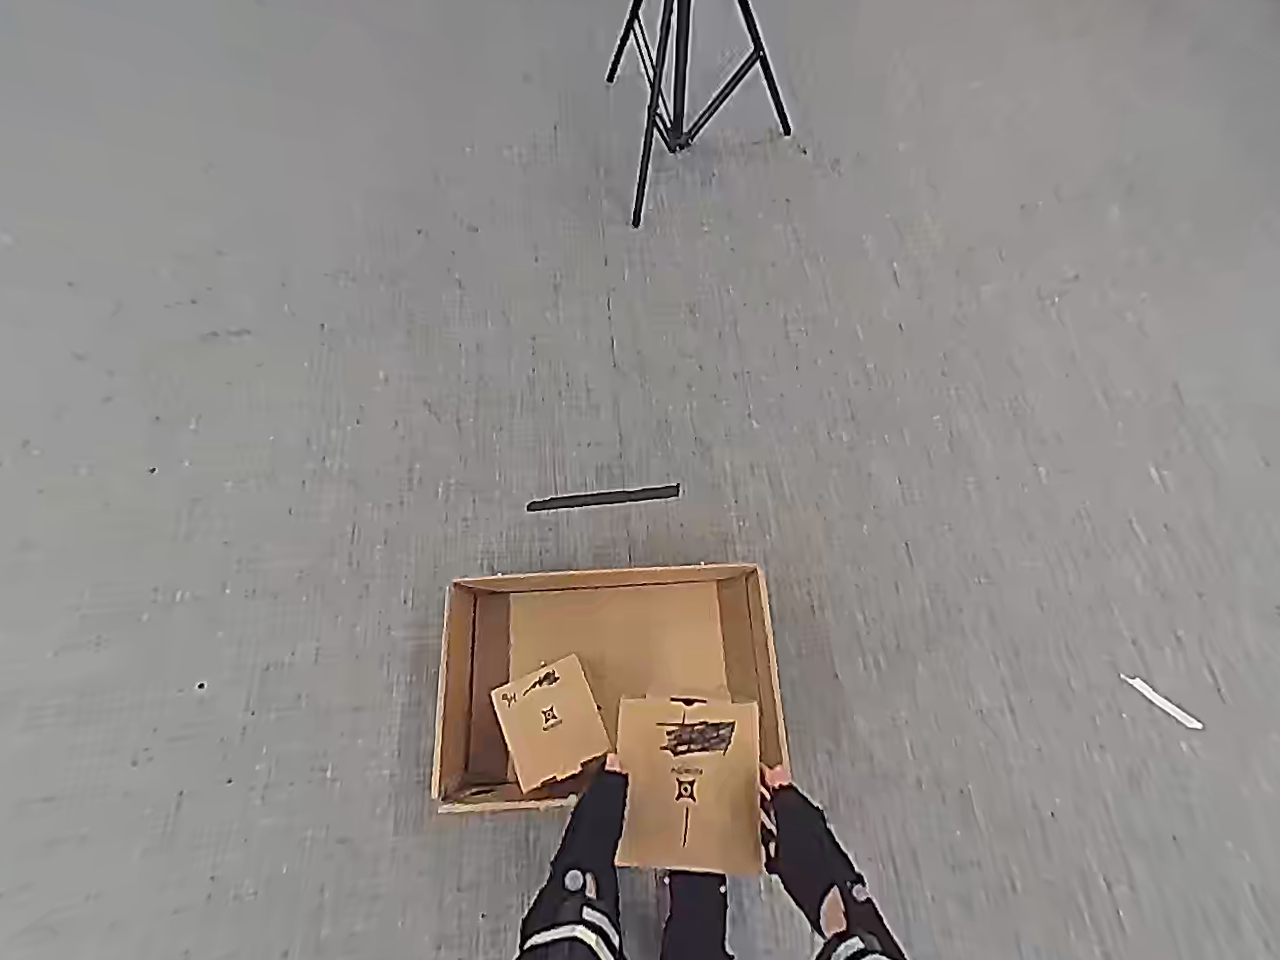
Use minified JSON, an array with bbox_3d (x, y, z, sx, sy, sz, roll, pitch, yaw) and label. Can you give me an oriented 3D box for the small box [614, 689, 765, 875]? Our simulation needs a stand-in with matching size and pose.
[{"bbox_3d":[0.061,0.362,0.682,0.168,0.176,0.179,2,71,4],"label":"small box"}]
